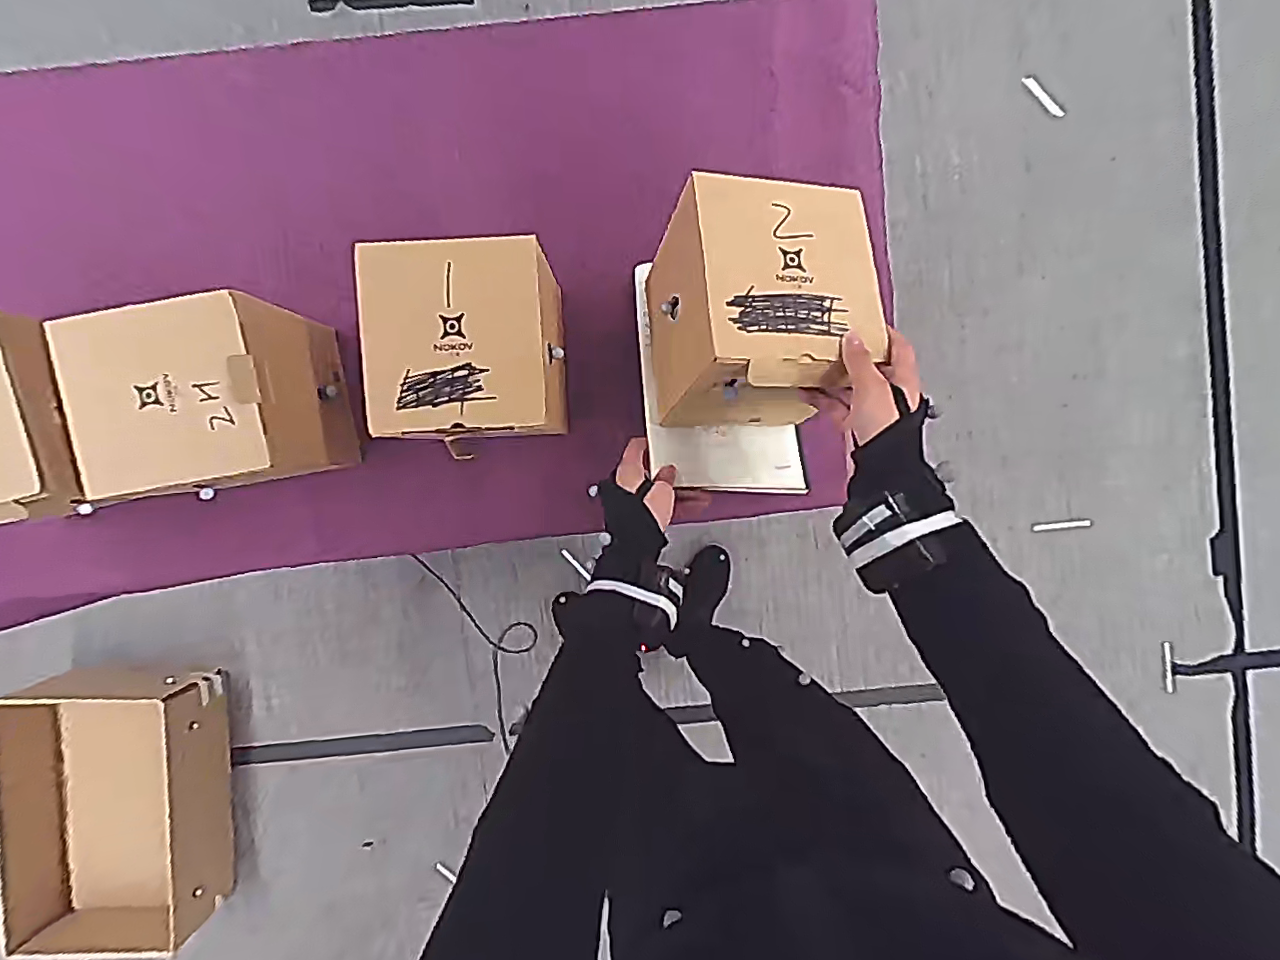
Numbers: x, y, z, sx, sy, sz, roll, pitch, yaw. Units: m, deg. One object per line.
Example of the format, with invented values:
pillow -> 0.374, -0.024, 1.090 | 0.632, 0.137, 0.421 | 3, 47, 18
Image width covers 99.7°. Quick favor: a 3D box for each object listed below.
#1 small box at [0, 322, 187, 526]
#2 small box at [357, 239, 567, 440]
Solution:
small box -> -0.638, -0.050, 0.573 | 0.168, 0.176, 0.179 | -14, 93, -1
small box -> -0.172, -0.133, 0.573 | 0.168, 0.176, 0.179 | -3, 92, -1
